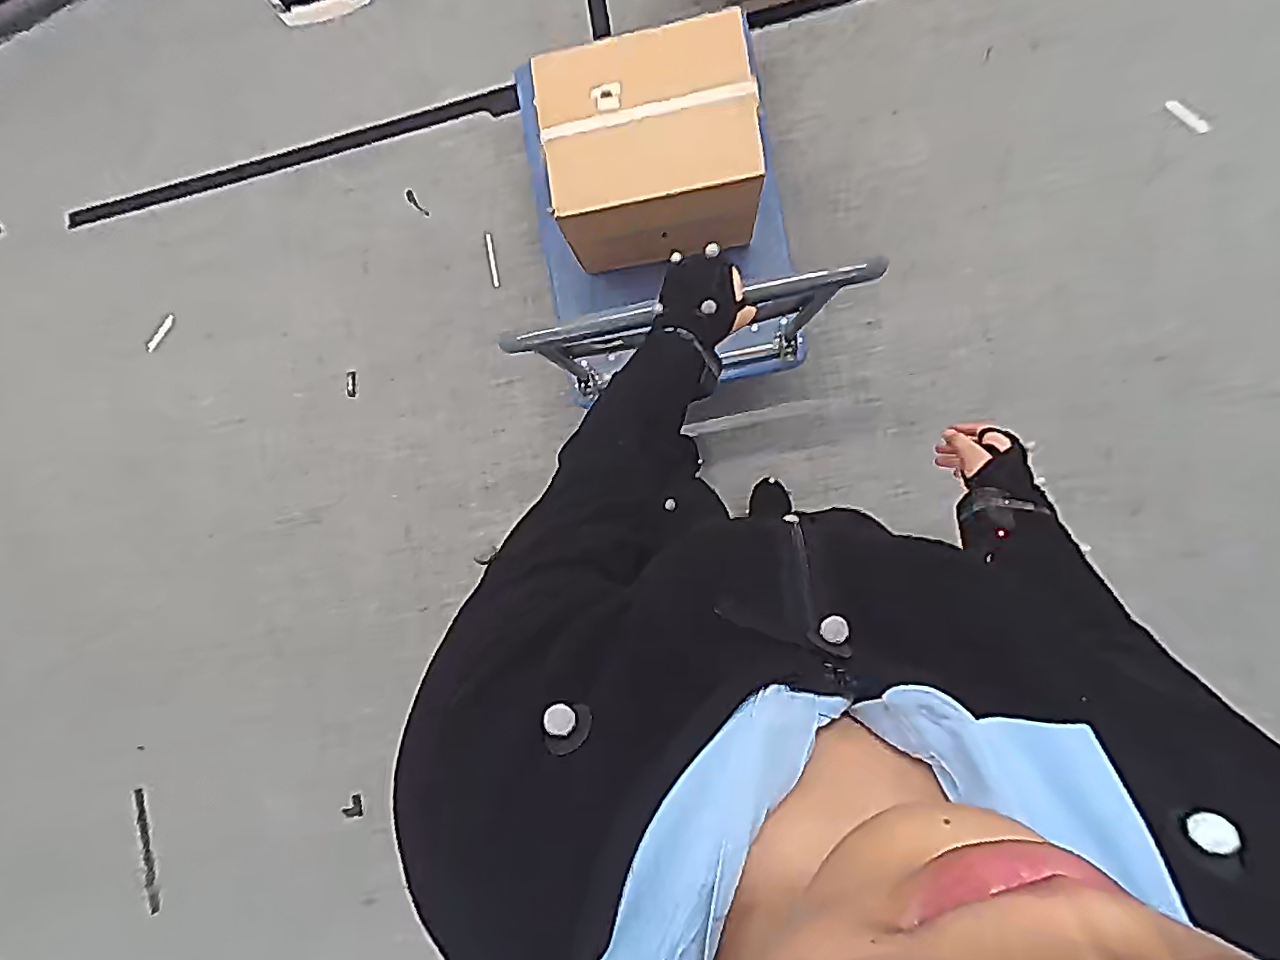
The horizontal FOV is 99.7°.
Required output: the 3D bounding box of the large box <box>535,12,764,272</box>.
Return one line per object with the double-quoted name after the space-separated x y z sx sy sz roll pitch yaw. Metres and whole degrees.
0.033 -0.690 1.173 0.408 0.320 0.320 -9 89 8 "large box"
